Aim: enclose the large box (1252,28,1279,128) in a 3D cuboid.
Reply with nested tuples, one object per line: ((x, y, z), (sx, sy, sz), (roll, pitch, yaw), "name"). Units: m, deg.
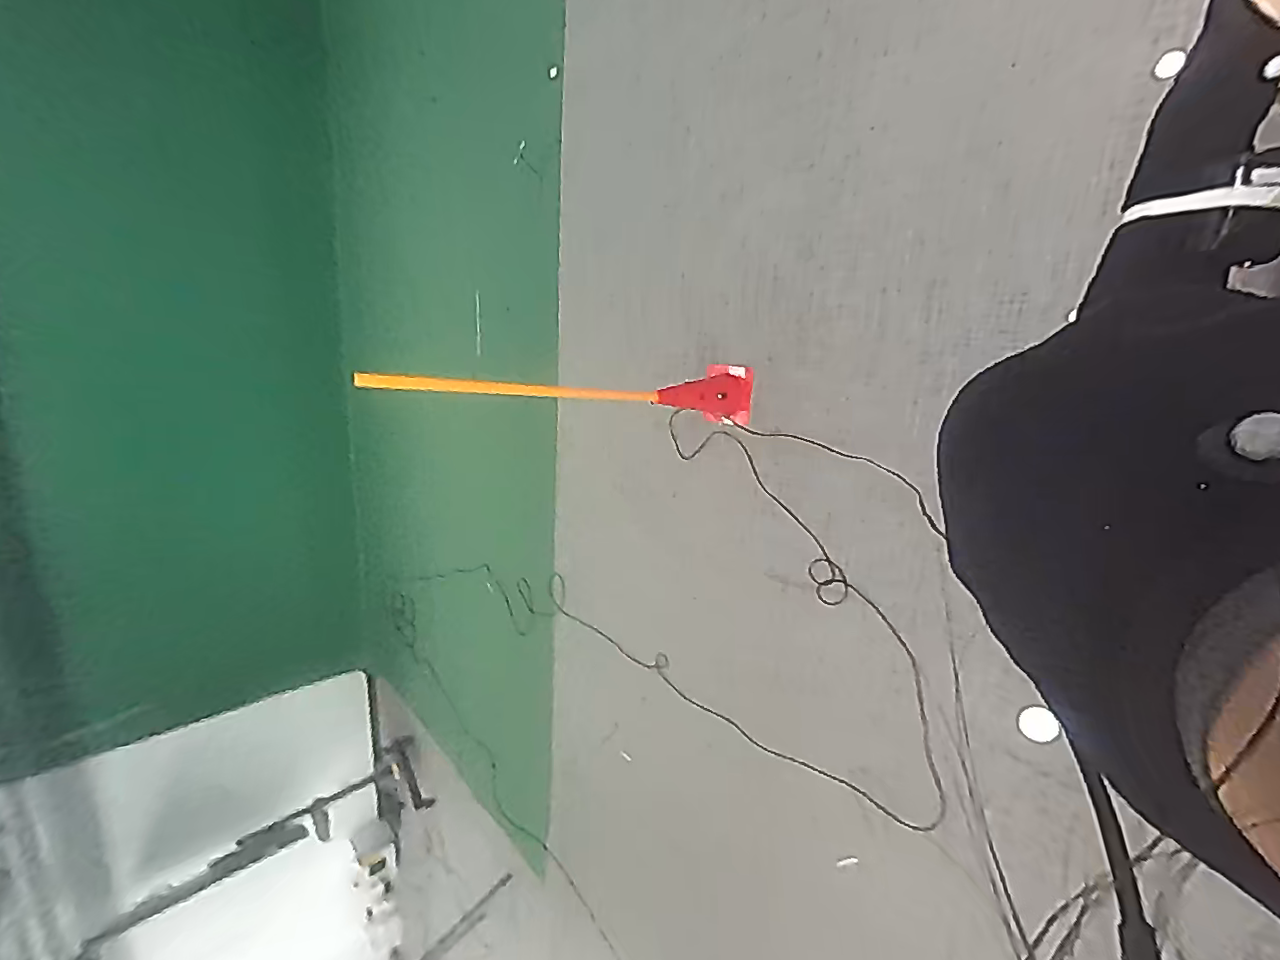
((0.661, -0.352, 0.249), (0.408, 0.320, 0.320), (32, 128, 42), "large box")
